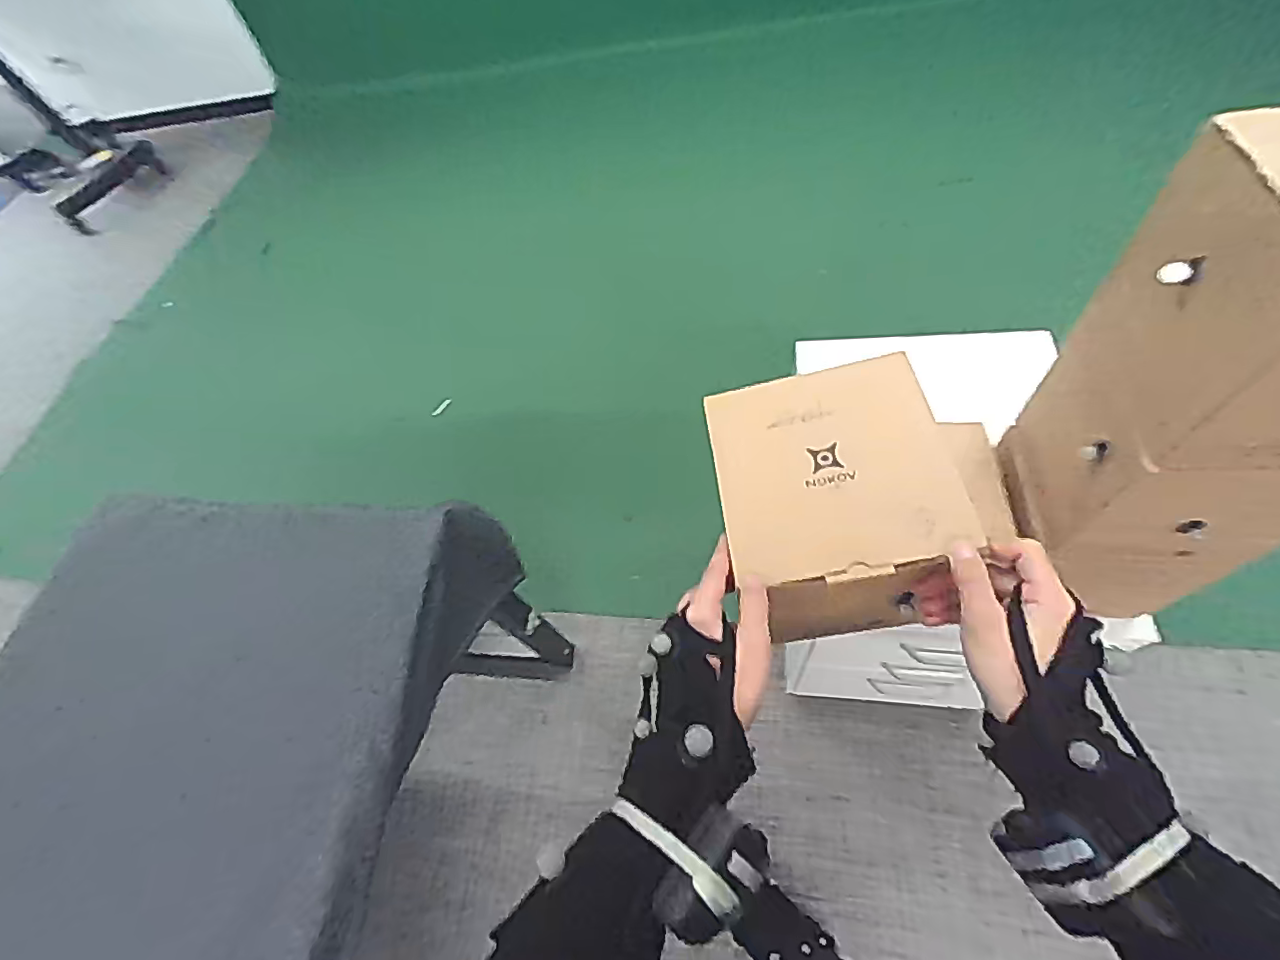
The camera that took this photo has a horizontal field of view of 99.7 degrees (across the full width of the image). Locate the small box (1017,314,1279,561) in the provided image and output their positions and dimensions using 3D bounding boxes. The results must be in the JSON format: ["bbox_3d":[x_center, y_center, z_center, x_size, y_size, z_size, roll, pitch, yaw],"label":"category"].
[{"bbox_3d":[0.491,-0.035,0.506,0.168,0.176,0.179,2,59,12],"label":"small box"}]

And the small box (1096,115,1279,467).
[{"bbox_3d":[0.468,-0.125,0.371,0.168,0.176,0.179,0,58,11],"label":"small box"}]

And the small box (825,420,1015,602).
[{"bbox_3d":[0.333,0.044,0.684,0.168,0.176,0.179,2,59,11],"label":"small box"}]
